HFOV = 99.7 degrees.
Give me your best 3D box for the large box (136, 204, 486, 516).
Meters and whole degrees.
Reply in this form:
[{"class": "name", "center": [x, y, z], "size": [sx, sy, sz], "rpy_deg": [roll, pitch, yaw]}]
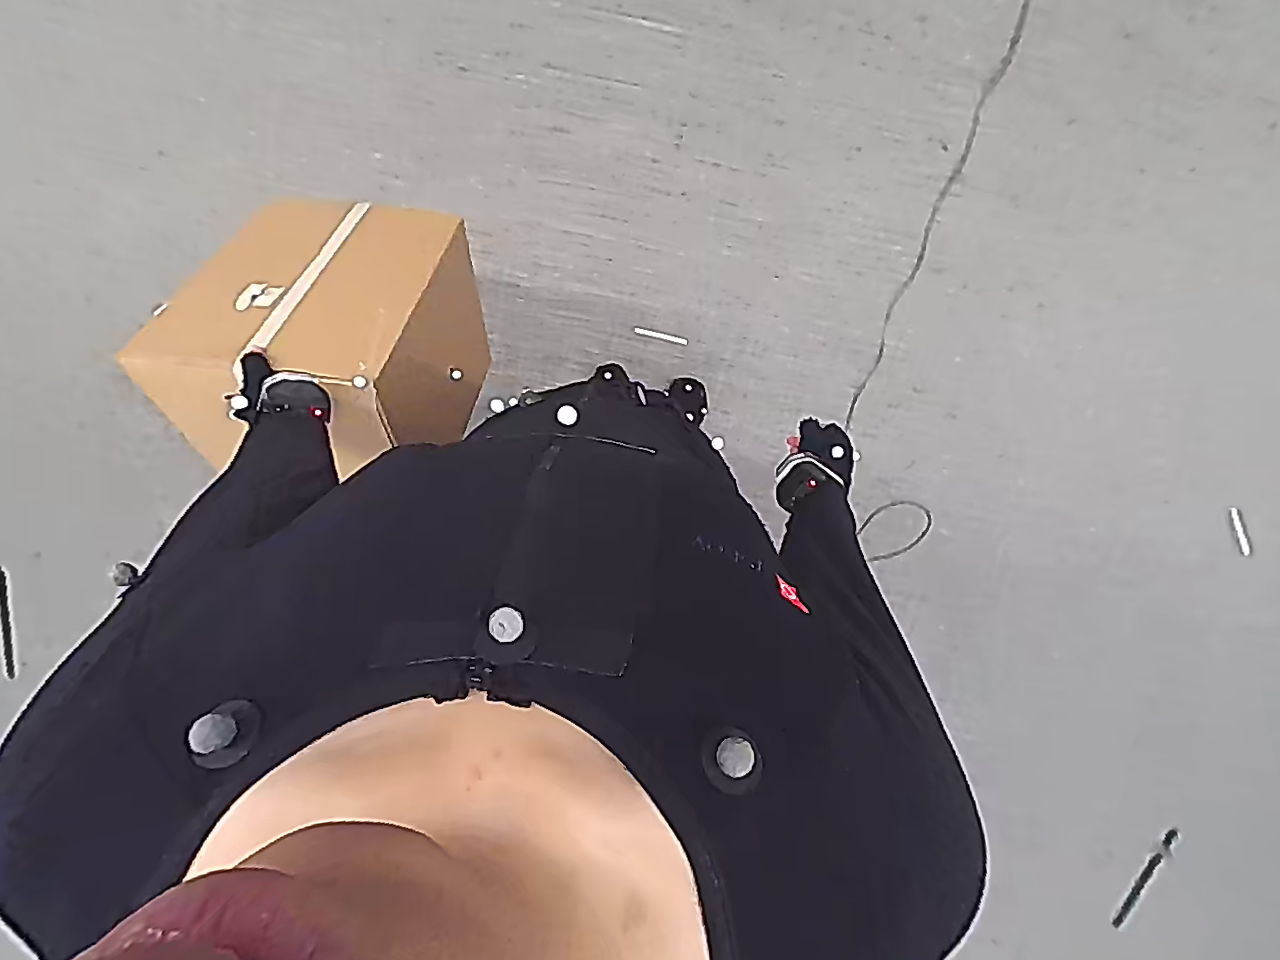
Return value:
[{"class": "large box", "center": [-0.473, -0.197, 0.905], "size": [0.320, 0.408, 0.320], "rpy_deg": [5, 145, 0]}]
